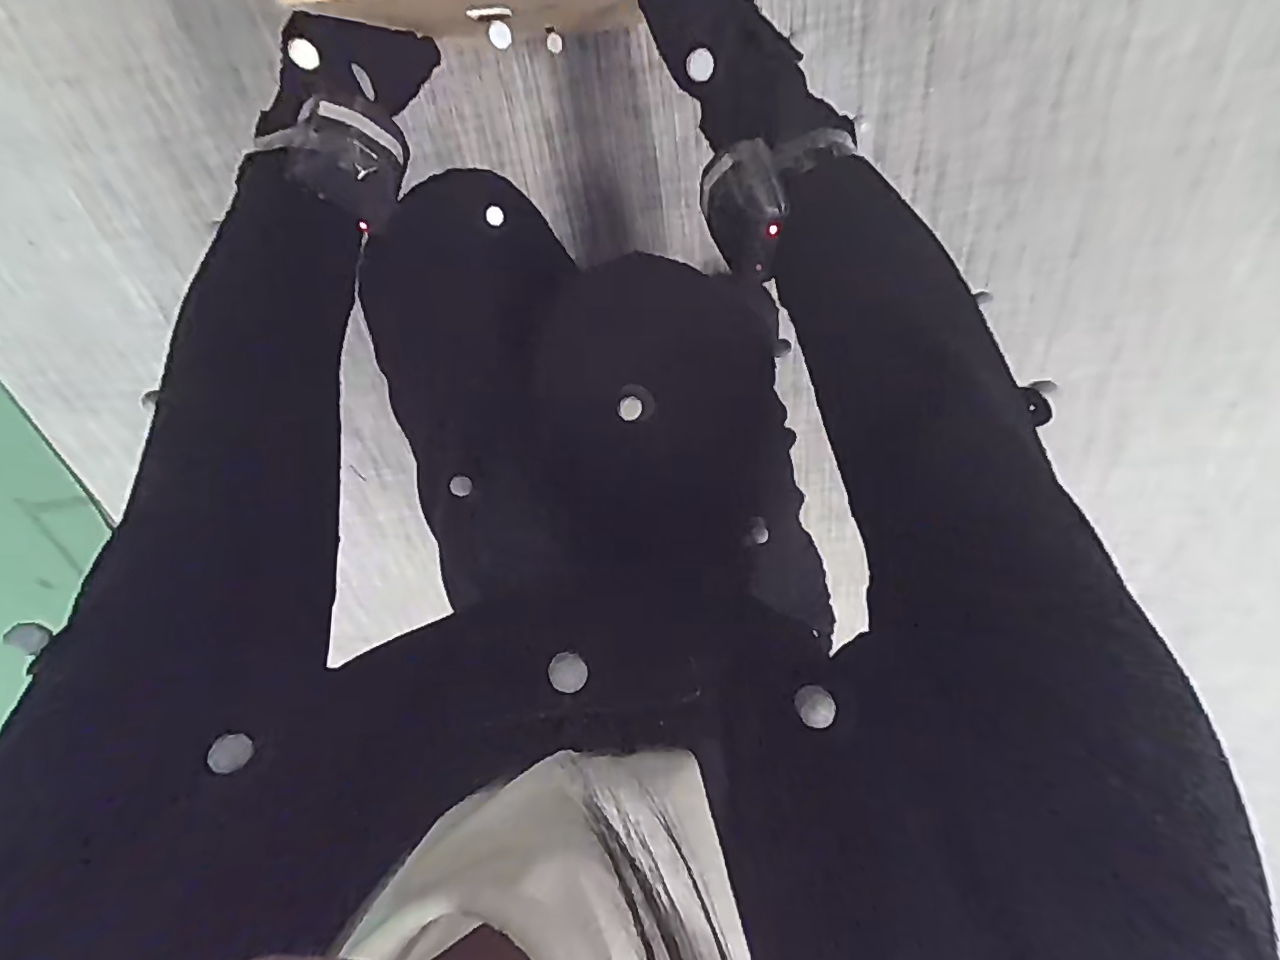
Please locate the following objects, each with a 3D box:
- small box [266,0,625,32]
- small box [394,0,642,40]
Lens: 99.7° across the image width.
[{"bbox_3d":[-0.096,-0.338,0.256,0.168,0.176,0.179,-1,128,7],"label":"small box"},{"bbox_3d":[-0.089,-0.432,0.389,0.179,0.176,0.168,-2,126,5],"label":"small box"}]
